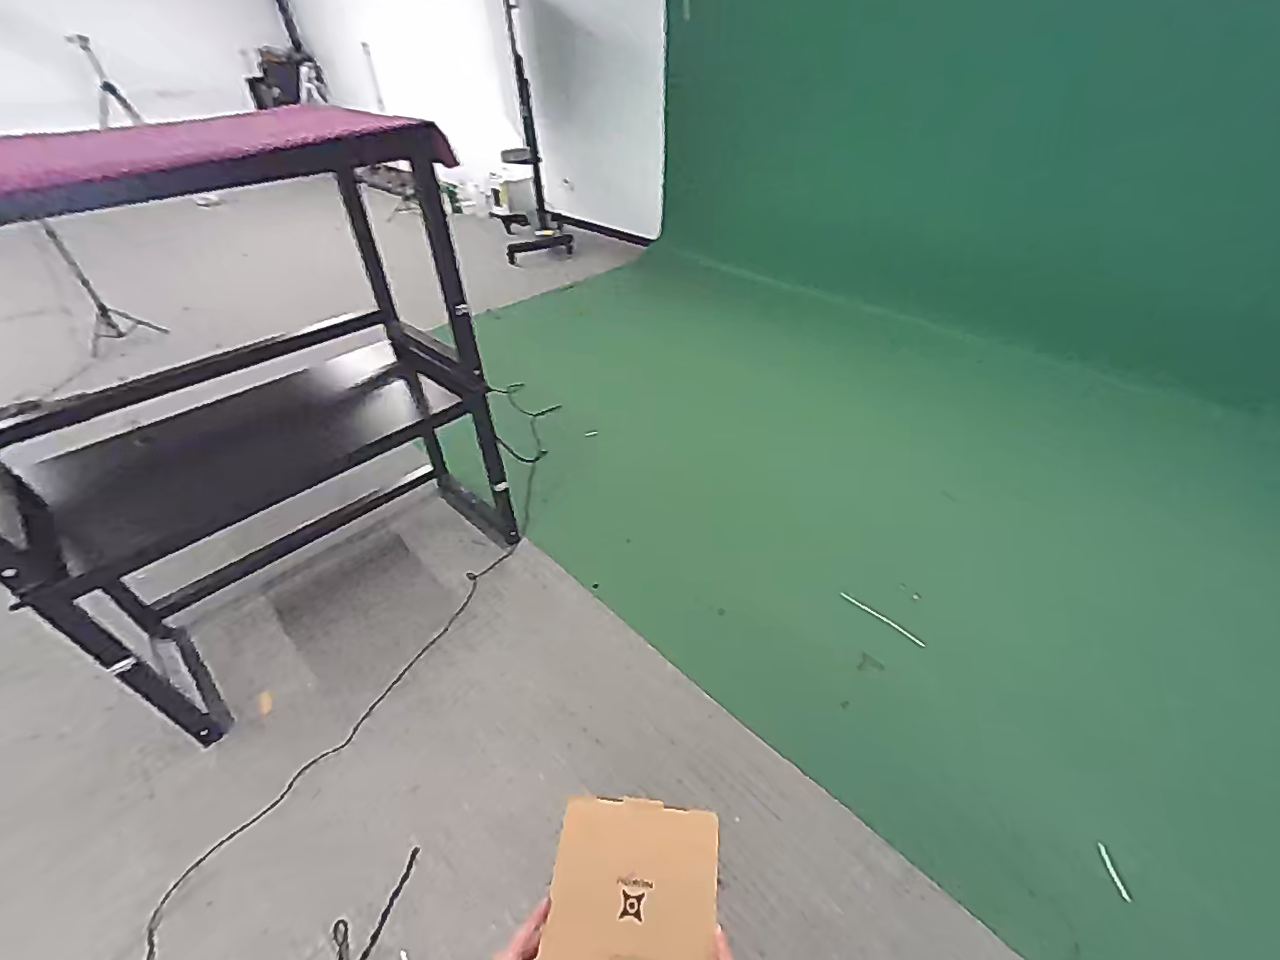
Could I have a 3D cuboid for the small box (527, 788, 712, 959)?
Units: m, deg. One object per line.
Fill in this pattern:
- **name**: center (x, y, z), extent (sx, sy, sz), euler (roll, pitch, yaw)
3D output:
- **small box**: center (-0.014, 0.465, 0.583), extent (0.168, 0.176, 0.179), euler (4, 44, 6)
